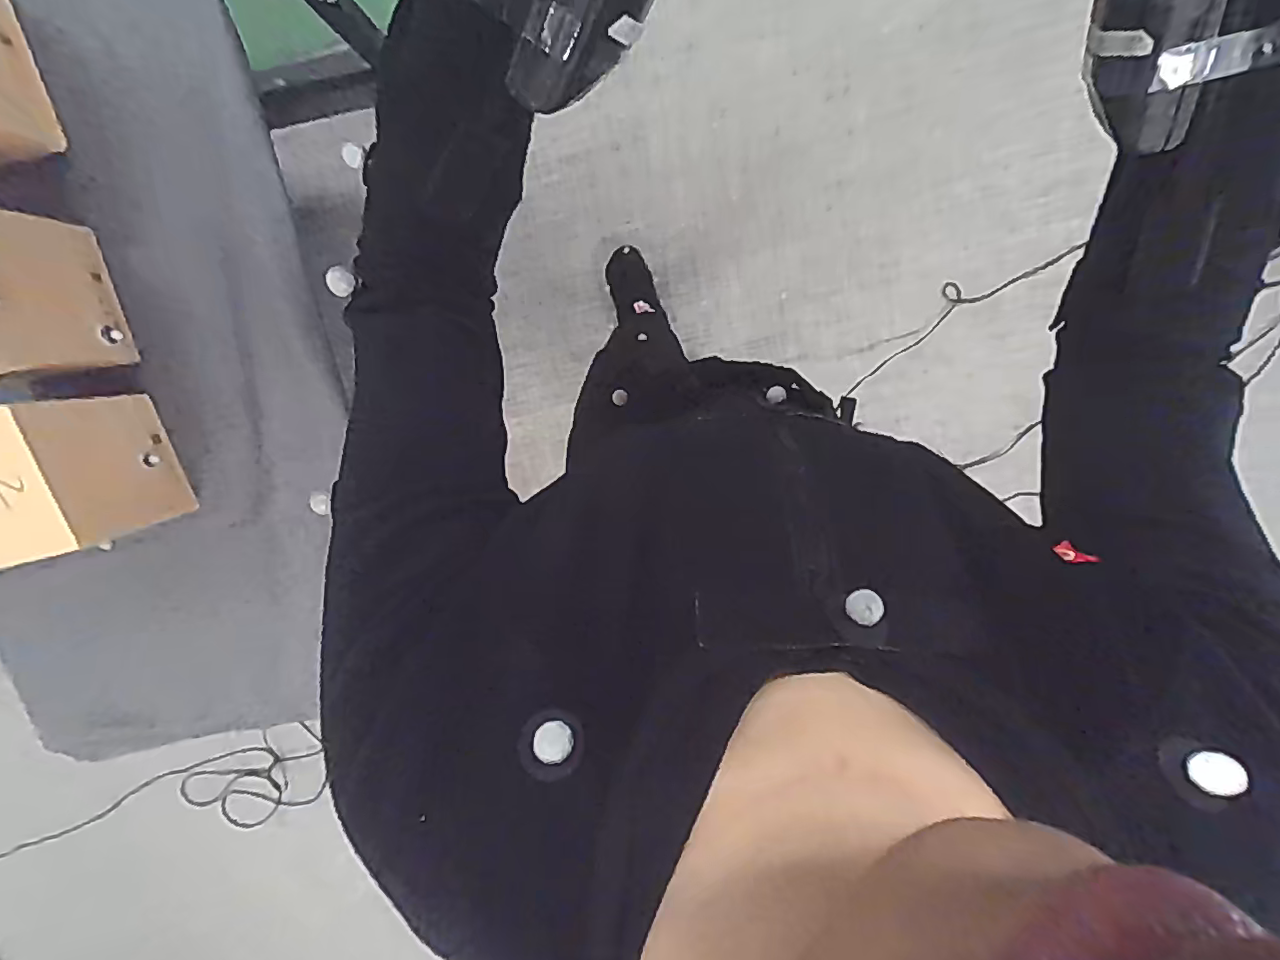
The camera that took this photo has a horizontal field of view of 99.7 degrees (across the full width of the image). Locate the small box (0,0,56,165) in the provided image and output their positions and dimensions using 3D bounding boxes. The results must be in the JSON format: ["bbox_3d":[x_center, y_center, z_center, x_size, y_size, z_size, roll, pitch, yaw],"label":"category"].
[{"bbox_3d":[-0.779,-0.442,0.559,0.179,0.176,0.168,-10,103,5],"label":"small box"}]
